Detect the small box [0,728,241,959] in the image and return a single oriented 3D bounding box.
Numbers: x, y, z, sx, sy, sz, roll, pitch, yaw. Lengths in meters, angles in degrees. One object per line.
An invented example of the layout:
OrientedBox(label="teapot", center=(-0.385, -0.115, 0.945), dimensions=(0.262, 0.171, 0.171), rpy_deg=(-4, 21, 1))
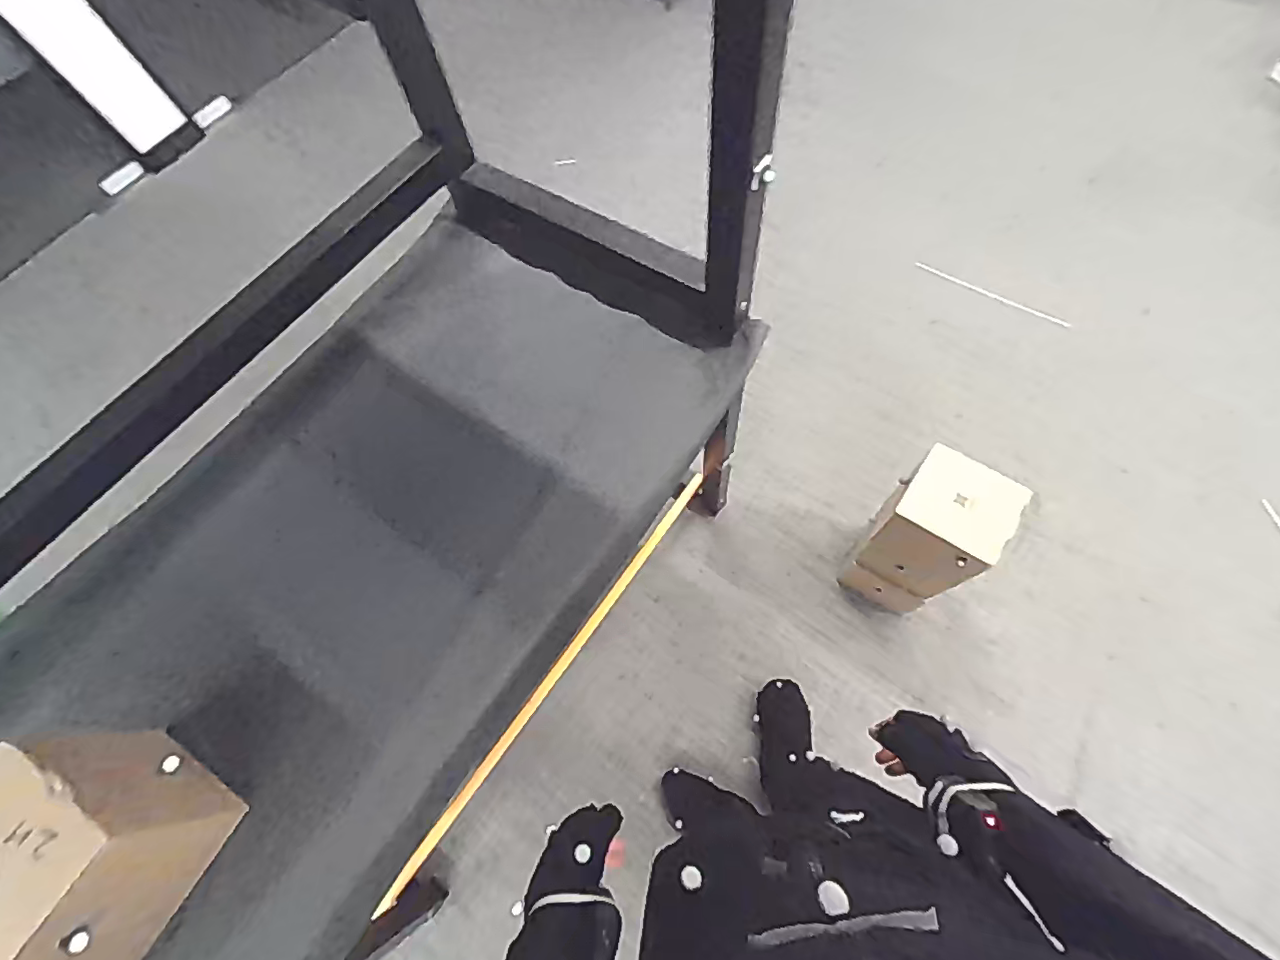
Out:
OrientedBox(label="small box", center=(-0.574, 0.380, 0.553), dimensions=(0.168, 0.176, 0.179), rpy_deg=(27, 72, 15))

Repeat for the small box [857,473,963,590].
OrientedBox(label="small box", center=(0.594, 0.118, 1.150), dimensions=(0.179, 0.176, 0.168), rpy_deg=(30, 74, 18))

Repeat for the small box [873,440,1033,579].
OrientedBox(label="small box", center=(0.563, 0.063, 0.999), dimensions=(0.179, 0.176, 0.168), rpy_deg=(33, 75, 18))
